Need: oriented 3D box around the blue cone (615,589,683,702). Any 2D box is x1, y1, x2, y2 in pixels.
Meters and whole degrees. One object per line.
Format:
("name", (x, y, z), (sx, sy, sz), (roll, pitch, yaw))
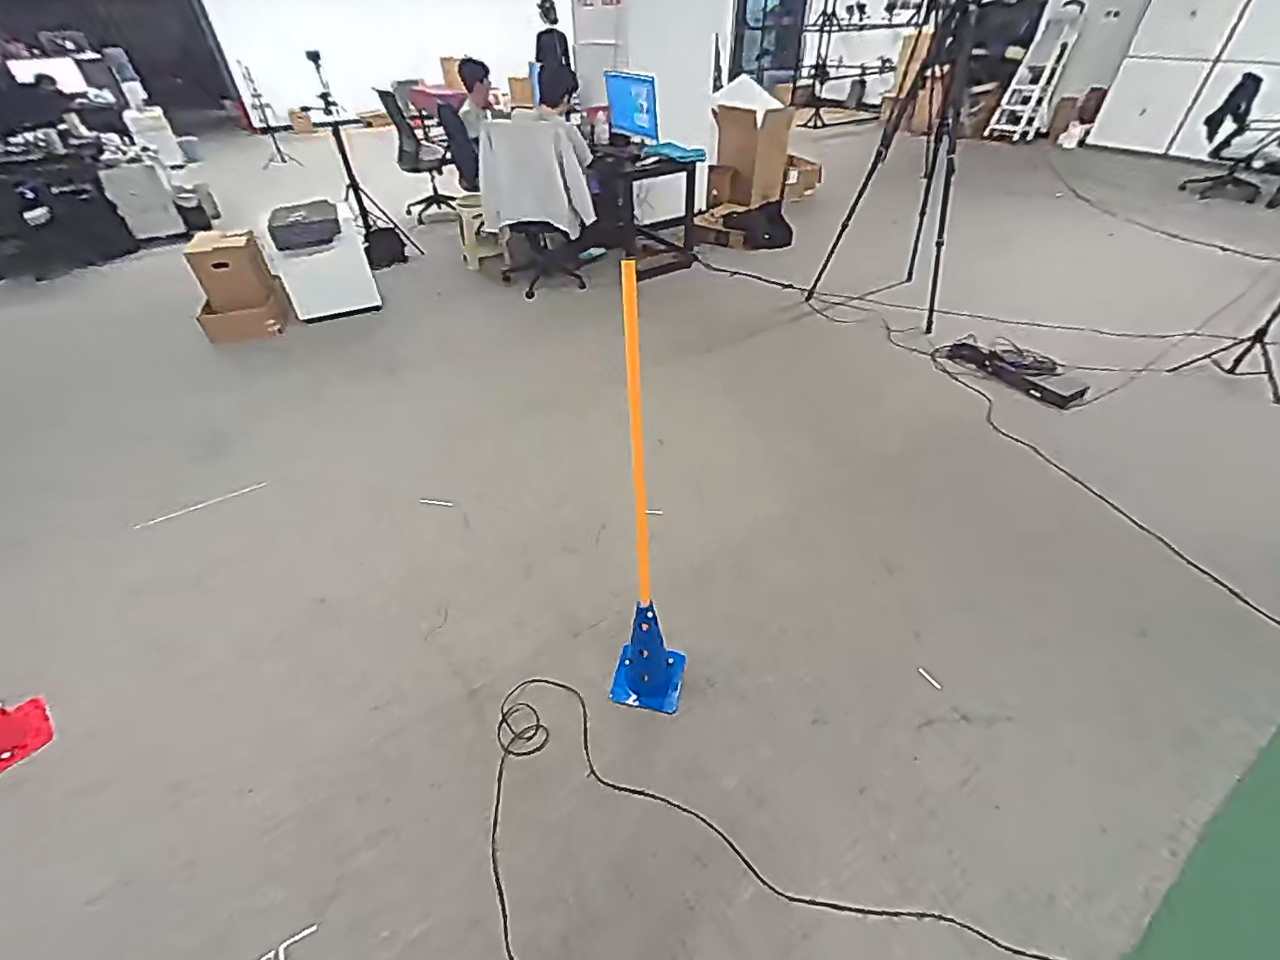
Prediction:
("blue cone", (0.024, 0.440, 1.512), (0.192, 0.380, 0.193), (6, 39, 10))
